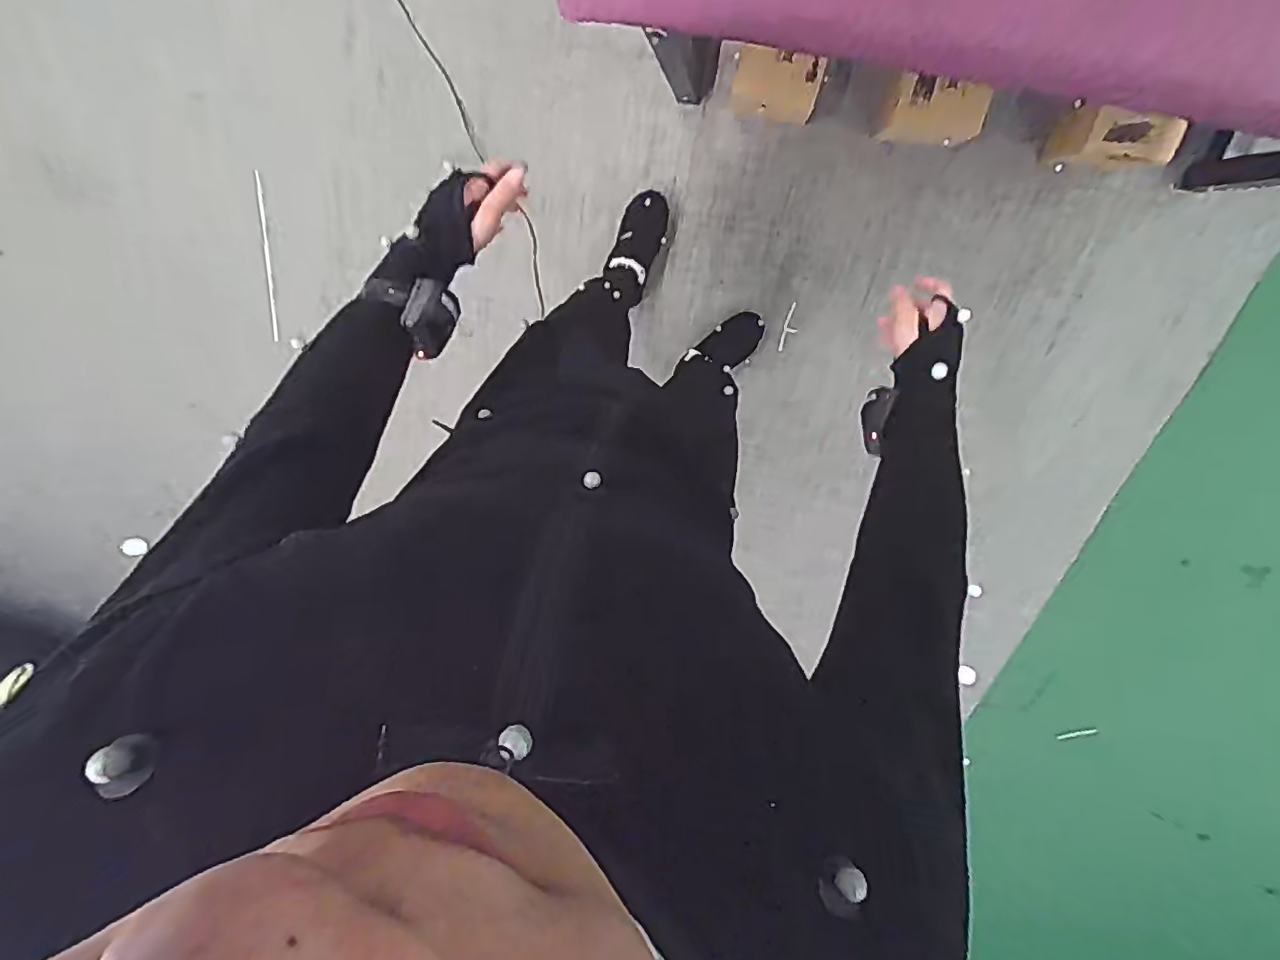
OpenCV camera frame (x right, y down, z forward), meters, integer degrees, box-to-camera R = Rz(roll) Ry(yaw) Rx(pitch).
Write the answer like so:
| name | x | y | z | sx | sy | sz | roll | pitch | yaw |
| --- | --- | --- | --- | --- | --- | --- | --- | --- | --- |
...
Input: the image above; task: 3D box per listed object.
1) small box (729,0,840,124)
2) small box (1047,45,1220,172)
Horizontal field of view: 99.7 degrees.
| name | x | y | z | sx | sy | sz | roll | pitch | yaw |
| --- | --- | --- | --- | --- | --- | --- | --- | --- | --- |
| small box | 0.298 | -0.879 | 1.146 | 0.179 | 0.176 | 0.168 | 16 | 116 | 4 |
| small box | 0.967 | -0.733 | 1.086 | 0.168 | 0.176 | 0.179 | 11 | 115 | 5 |
